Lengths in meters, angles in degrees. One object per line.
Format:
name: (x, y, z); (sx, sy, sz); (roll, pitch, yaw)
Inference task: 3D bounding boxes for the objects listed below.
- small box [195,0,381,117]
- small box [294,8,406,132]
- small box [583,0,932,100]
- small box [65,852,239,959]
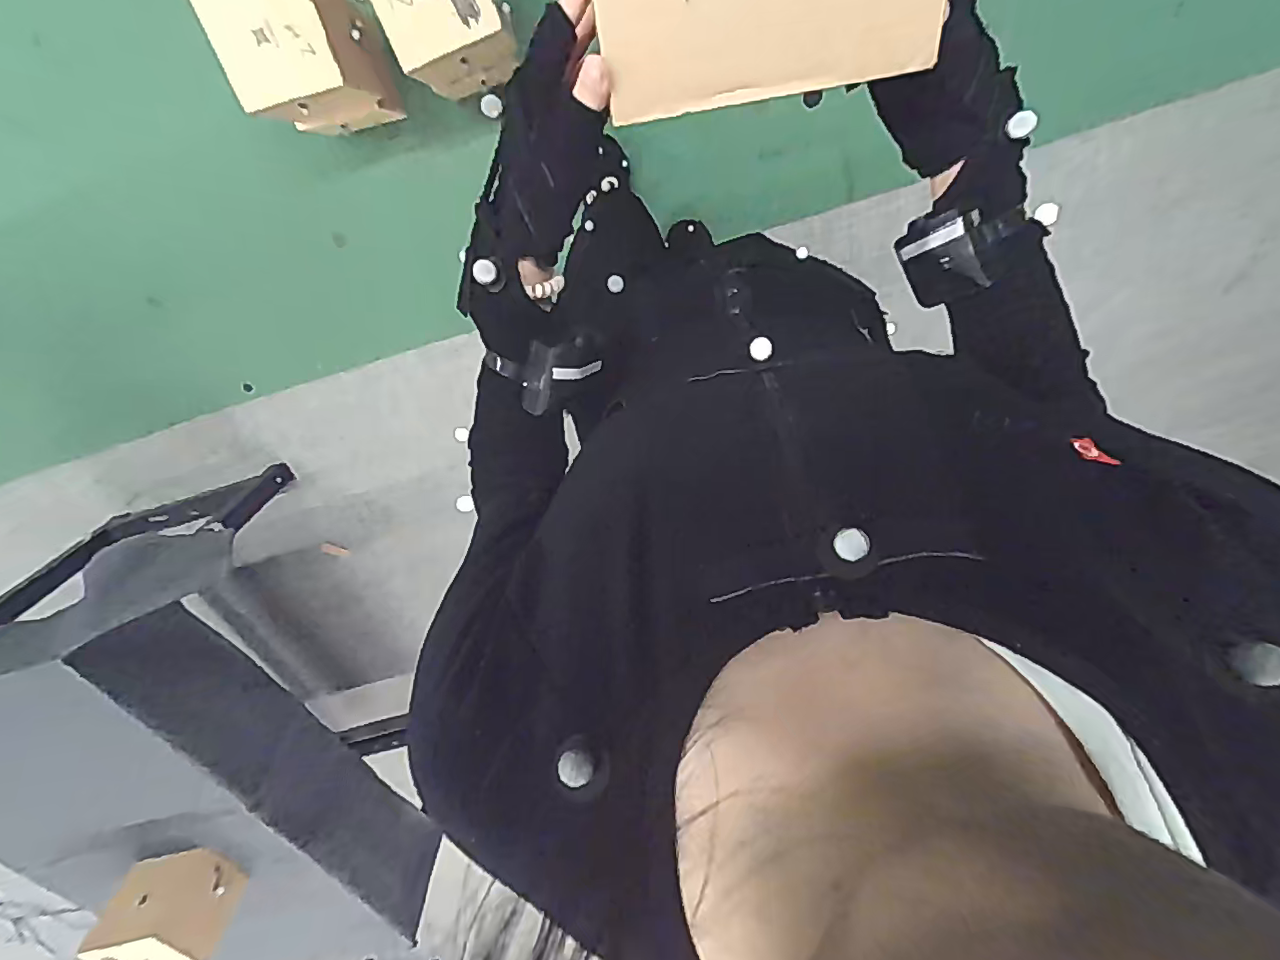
small box: (-0.569, -0.720, 0.894); (0.179, 0.176, 0.168); (-12, 119, 4)
small box: (-0.582, -0.789, 1.044); (0.168, 0.176, 0.179); (-11, 119, 3)
small box: (0.050, -0.325, 0.299); (0.179, 0.176, 0.168); (-6, 127, 3)
small box: (-1.014, 0.930, 1.145); (0.179, 0.176, 0.168); (-15, 119, 5)
